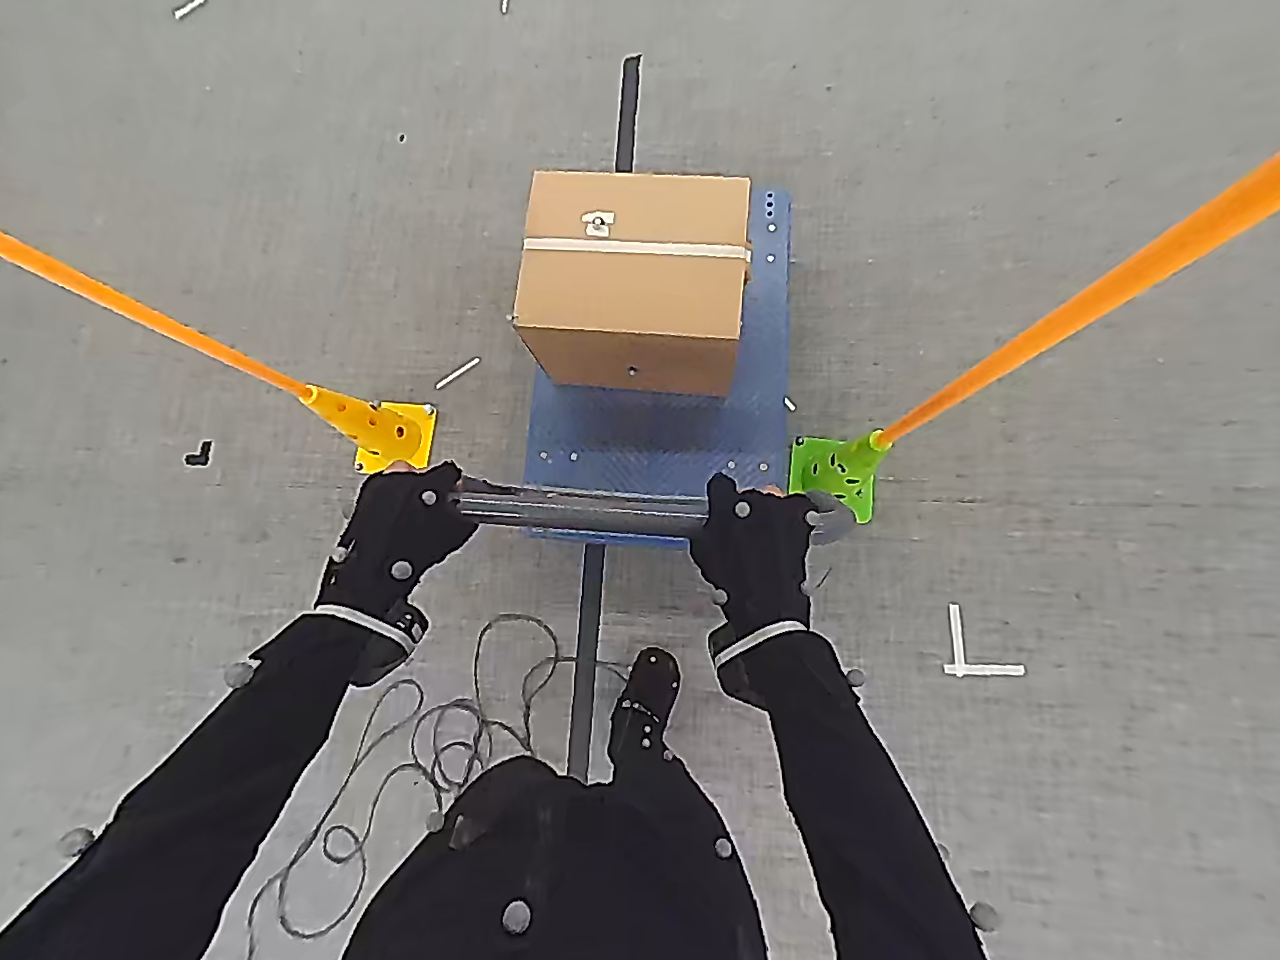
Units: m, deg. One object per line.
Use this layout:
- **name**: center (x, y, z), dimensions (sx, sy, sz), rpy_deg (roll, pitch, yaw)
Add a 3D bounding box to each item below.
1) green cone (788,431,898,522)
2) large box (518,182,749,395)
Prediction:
- **green cone**: center (0.459, -0.035, 1.164), dimensions (0.202, 0.368, 0.200), rpy_deg (6, 80, 5)
- **large box**: center (0.005, -0.377, 1.124), dimensions (0.408, 0.320, 0.320), rpy_deg (5, 81, 7)
